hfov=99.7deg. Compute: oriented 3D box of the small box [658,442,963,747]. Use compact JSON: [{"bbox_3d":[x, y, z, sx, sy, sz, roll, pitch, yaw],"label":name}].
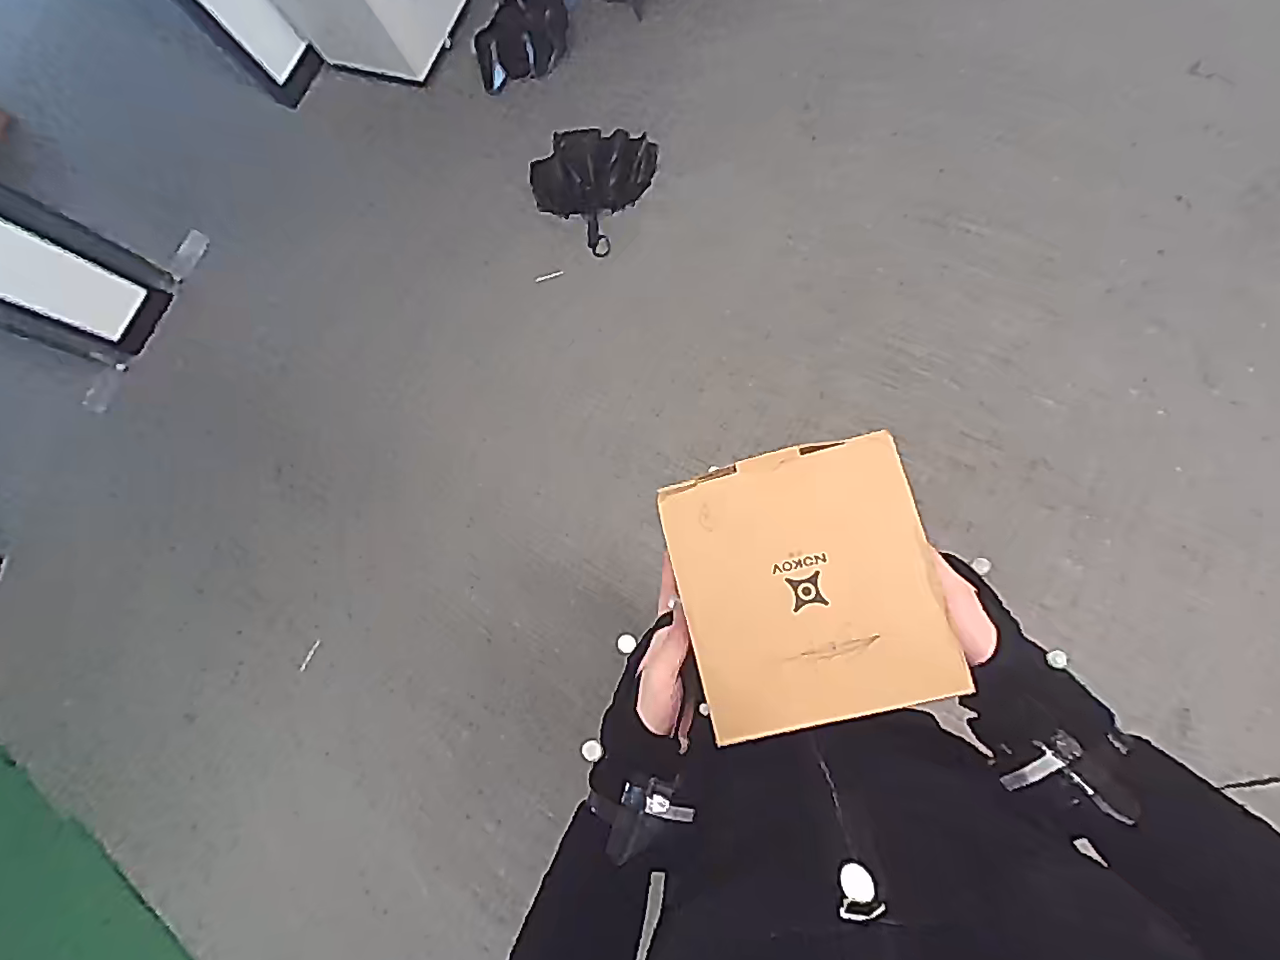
[{"bbox_3d":[0.118,0.084,0.437,0.168,0.176,0.179,-14,83,7],"label":"small box"}]
